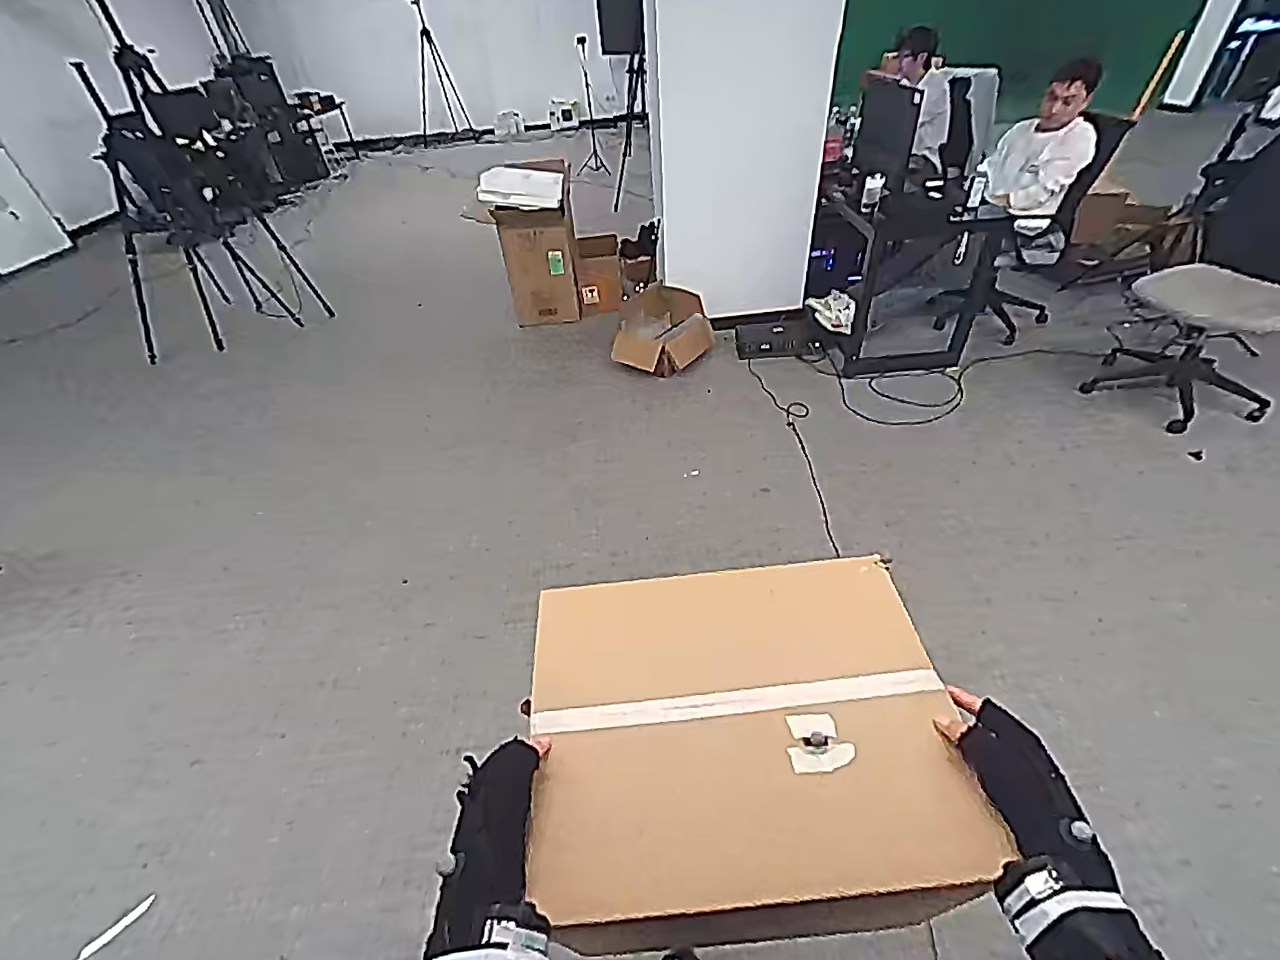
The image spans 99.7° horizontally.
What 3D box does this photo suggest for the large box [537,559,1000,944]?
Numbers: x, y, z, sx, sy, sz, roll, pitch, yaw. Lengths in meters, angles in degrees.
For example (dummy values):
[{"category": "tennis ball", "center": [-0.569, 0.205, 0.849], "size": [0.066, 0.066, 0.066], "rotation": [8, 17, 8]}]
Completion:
[{"category": "large box", "center": [0.106, 0.330, 0.660], "size": [0.408, 0.320, 0.320], "rotation": [-6, 46, 0]}]
